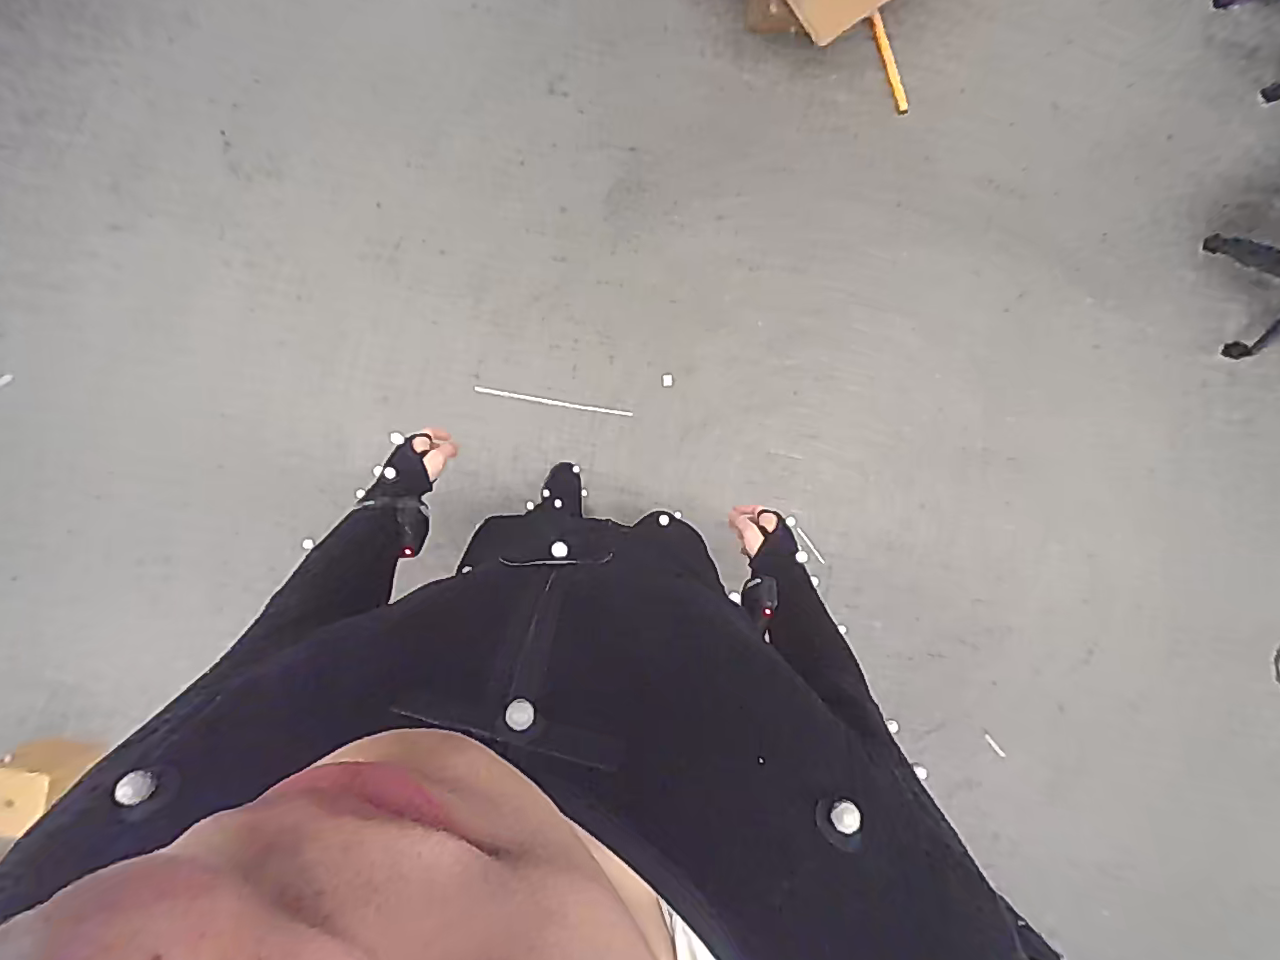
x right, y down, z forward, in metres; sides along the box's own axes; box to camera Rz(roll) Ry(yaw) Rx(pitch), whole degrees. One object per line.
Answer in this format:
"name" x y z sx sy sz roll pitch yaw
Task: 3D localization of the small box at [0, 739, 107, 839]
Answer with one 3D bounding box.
"small box" -1.586 0.813 1.435 0.179 0.176 0.168 9 89 -4
